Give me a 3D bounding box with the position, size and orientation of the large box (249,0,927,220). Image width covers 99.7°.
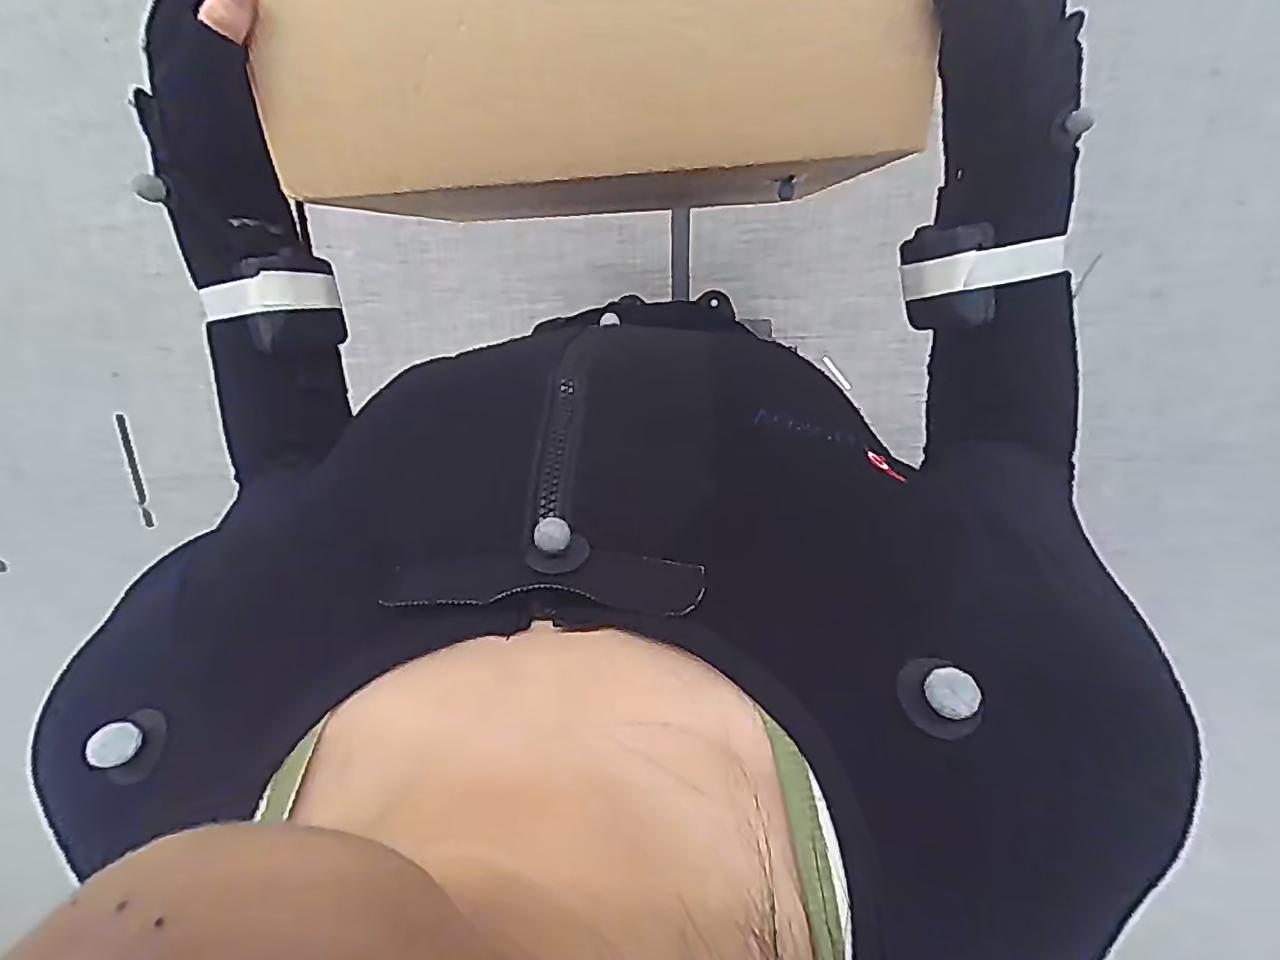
[{"bbox_3d":[-0.030,-0.396,0.430,0.408,0.320,0.320,-3,112,4],"label":"large box"}]

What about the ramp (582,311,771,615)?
[{"bbox_3d":[0.119,0.017,1.610,0.509,0.206,0.991,-2,108,5],"label":"ramp"}]
